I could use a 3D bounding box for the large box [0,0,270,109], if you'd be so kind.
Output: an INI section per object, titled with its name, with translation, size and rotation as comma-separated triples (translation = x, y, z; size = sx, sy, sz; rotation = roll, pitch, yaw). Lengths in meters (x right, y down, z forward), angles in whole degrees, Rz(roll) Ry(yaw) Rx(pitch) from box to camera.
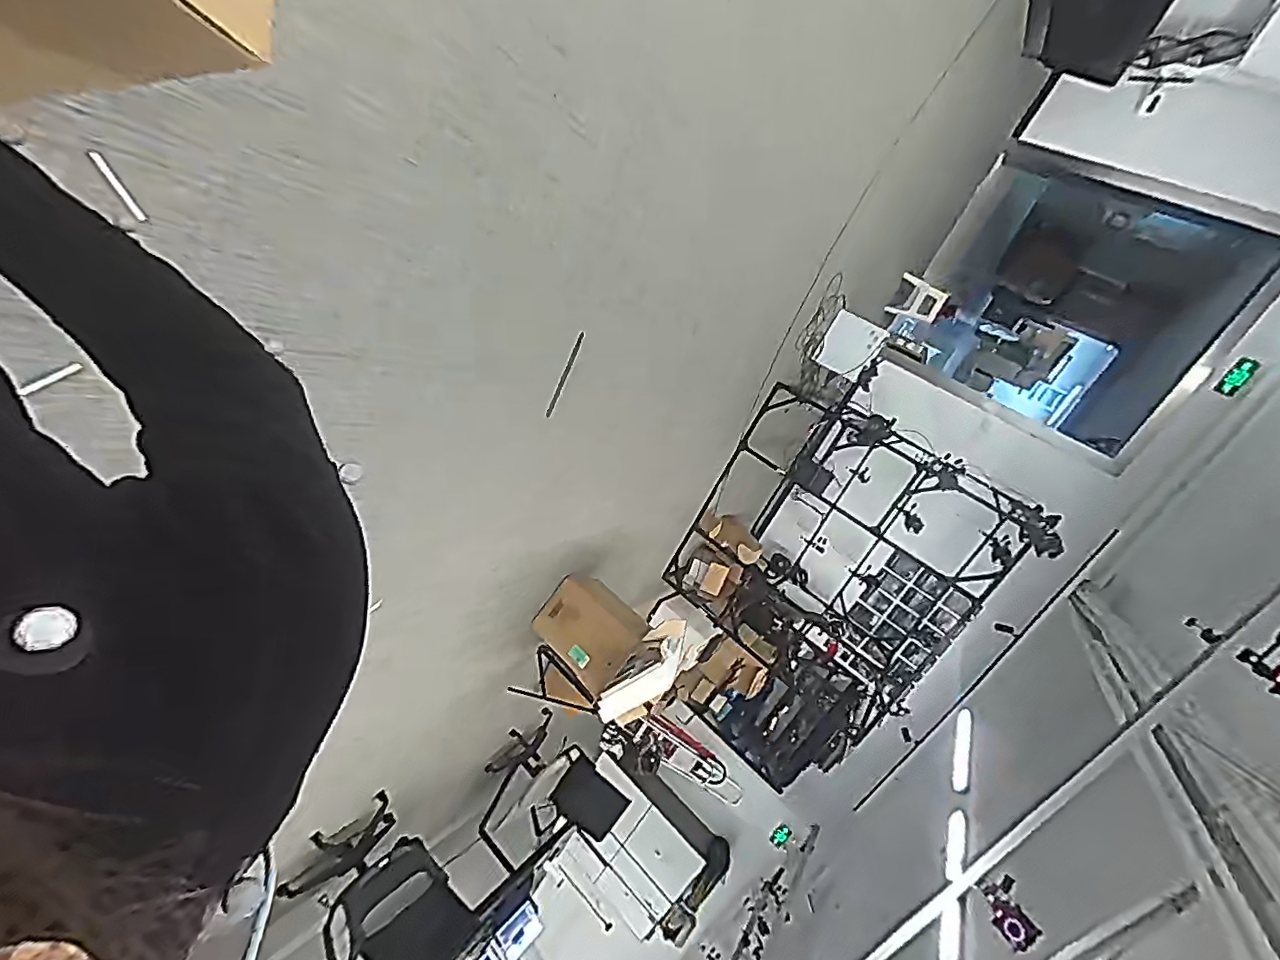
[large box]
translation = -0.450, -0.507, 0.284
size = 0.320, 0.320, 0.408
rotation = -4, 98, -74
